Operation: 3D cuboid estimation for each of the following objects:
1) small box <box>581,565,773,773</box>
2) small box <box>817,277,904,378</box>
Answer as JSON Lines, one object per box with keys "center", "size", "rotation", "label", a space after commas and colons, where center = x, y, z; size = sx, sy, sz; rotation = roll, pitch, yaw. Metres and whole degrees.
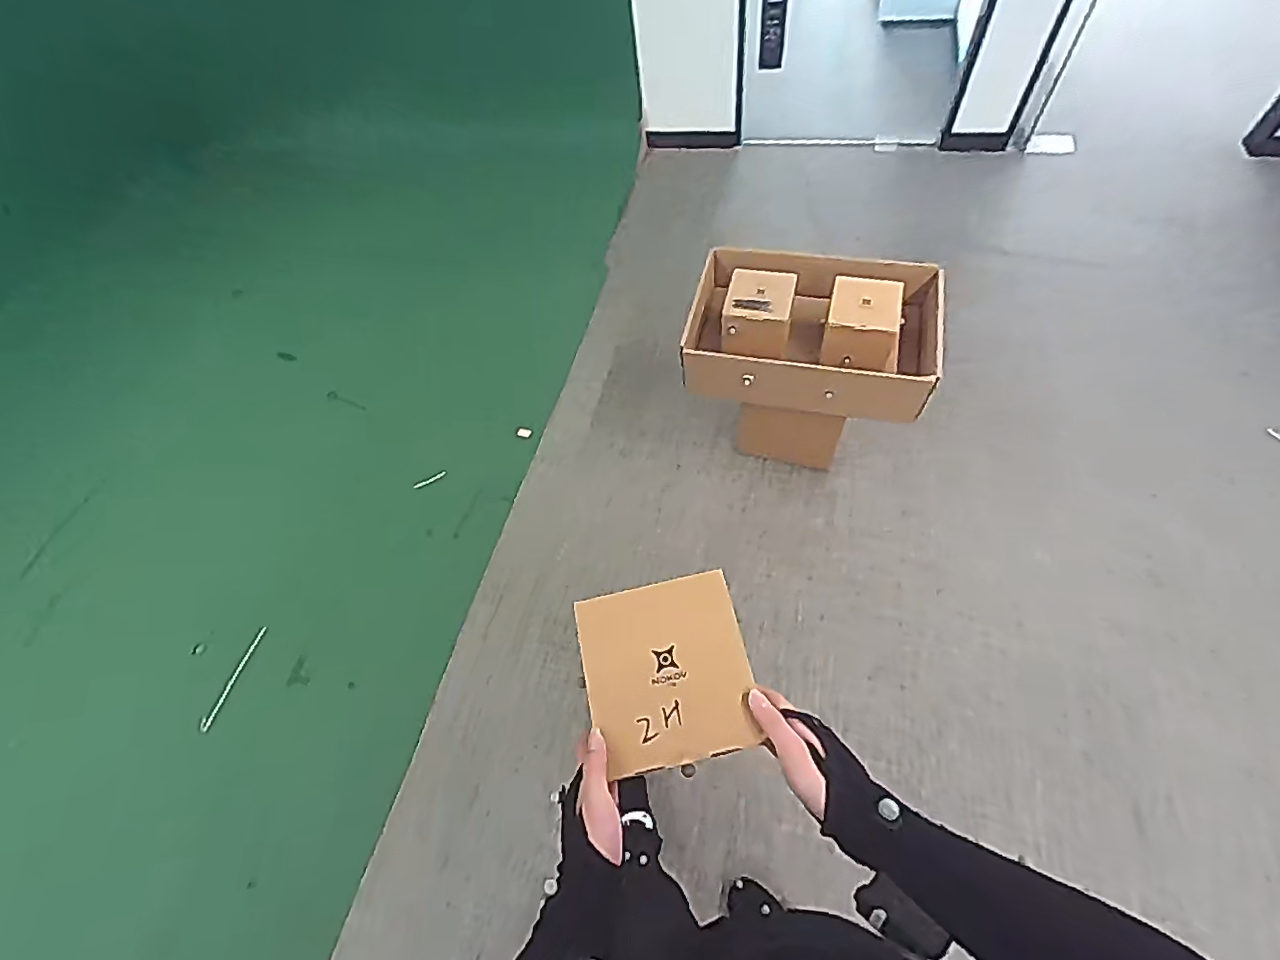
{"center": [0.034, 0.216, 0.609], "size": [0.168, 0.176, 0.179], "rotation": [-11, 65, -1], "label": "small box"}
{"center": [0.565, -0.393, 1.399], "size": [0.168, 0.176, 0.179], "rotation": [12, 63, 13], "label": "small box"}
